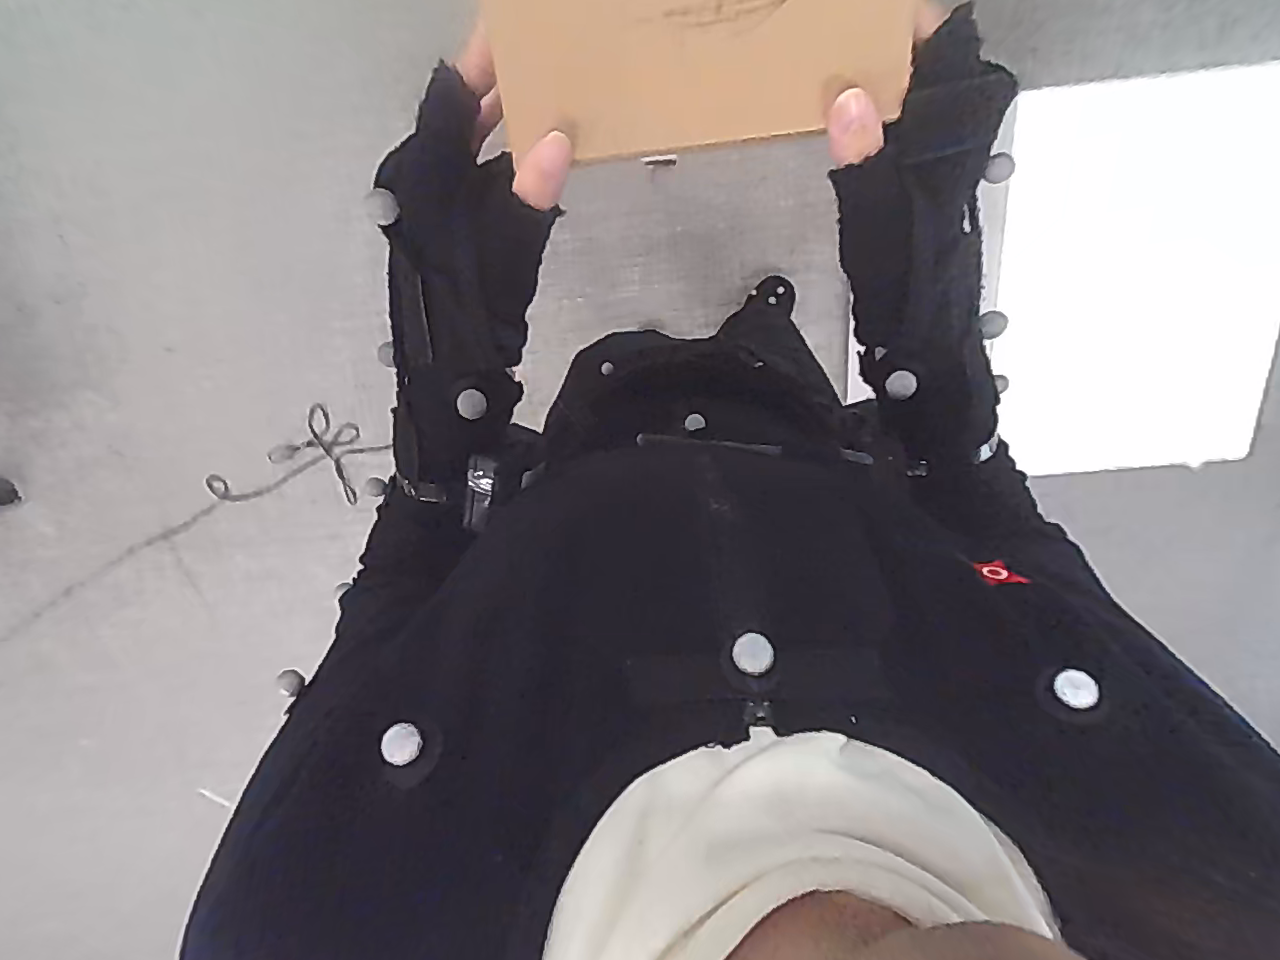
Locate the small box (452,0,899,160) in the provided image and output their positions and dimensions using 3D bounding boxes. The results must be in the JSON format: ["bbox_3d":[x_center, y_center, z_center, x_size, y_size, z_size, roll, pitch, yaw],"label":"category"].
[{"bbox_3d":[0.005,-0.257,0.243,0.168,0.176,0.179,-7,119,2],"label":"small box"}]
